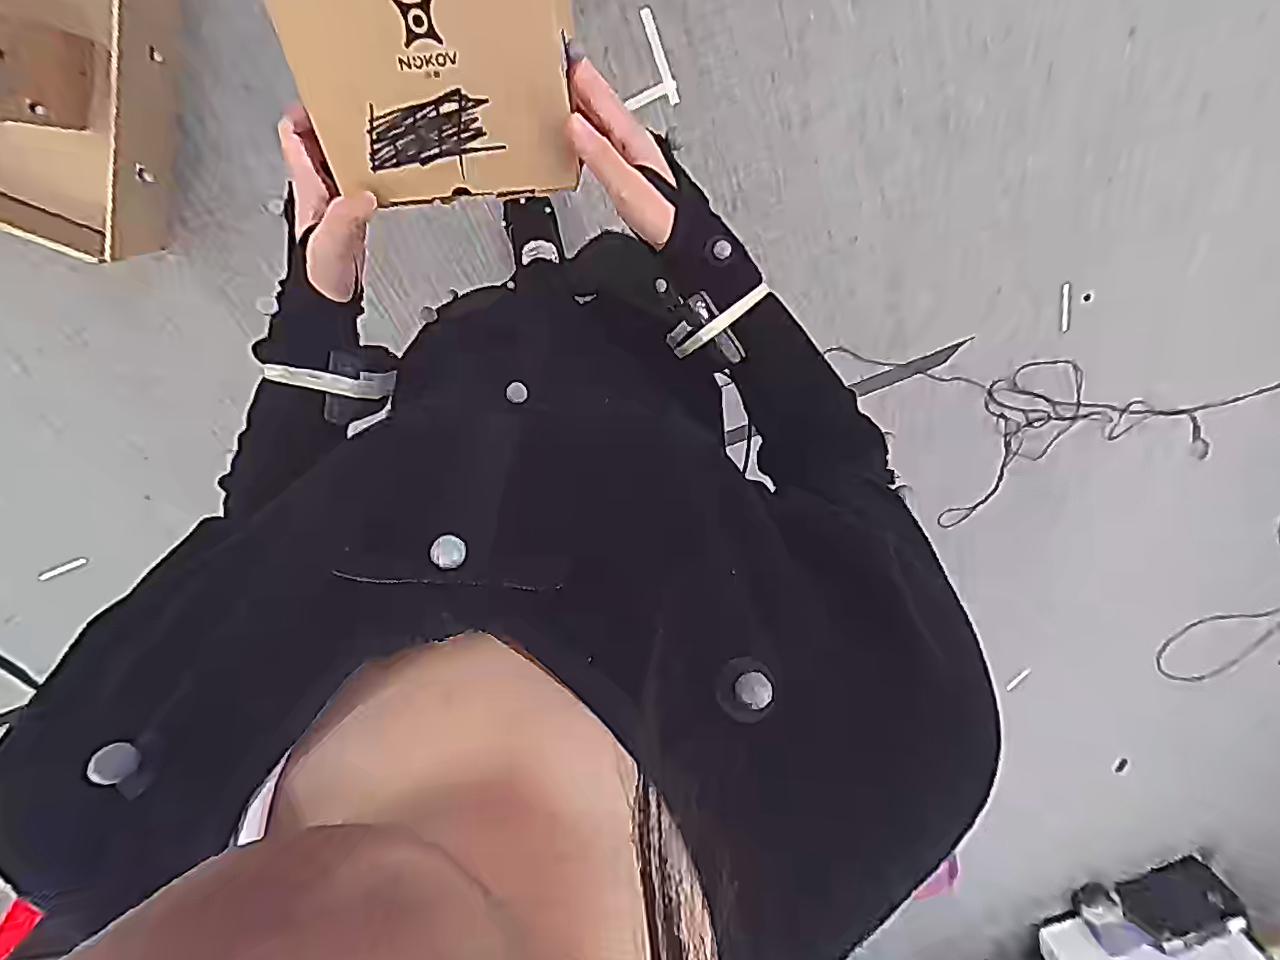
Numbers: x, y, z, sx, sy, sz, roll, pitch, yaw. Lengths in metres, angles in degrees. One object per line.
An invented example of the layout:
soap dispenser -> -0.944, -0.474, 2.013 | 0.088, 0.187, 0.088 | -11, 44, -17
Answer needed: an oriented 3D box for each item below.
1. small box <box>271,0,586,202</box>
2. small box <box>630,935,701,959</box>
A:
small box -> -0.130, -0.317, 0.380 | 0.168, 0.176, 0.179 | -5, 131, 0
small box -> 0.082, 1.378, 1.460 | 0.168, 0.176, 0.179 | -22, 118, 3
